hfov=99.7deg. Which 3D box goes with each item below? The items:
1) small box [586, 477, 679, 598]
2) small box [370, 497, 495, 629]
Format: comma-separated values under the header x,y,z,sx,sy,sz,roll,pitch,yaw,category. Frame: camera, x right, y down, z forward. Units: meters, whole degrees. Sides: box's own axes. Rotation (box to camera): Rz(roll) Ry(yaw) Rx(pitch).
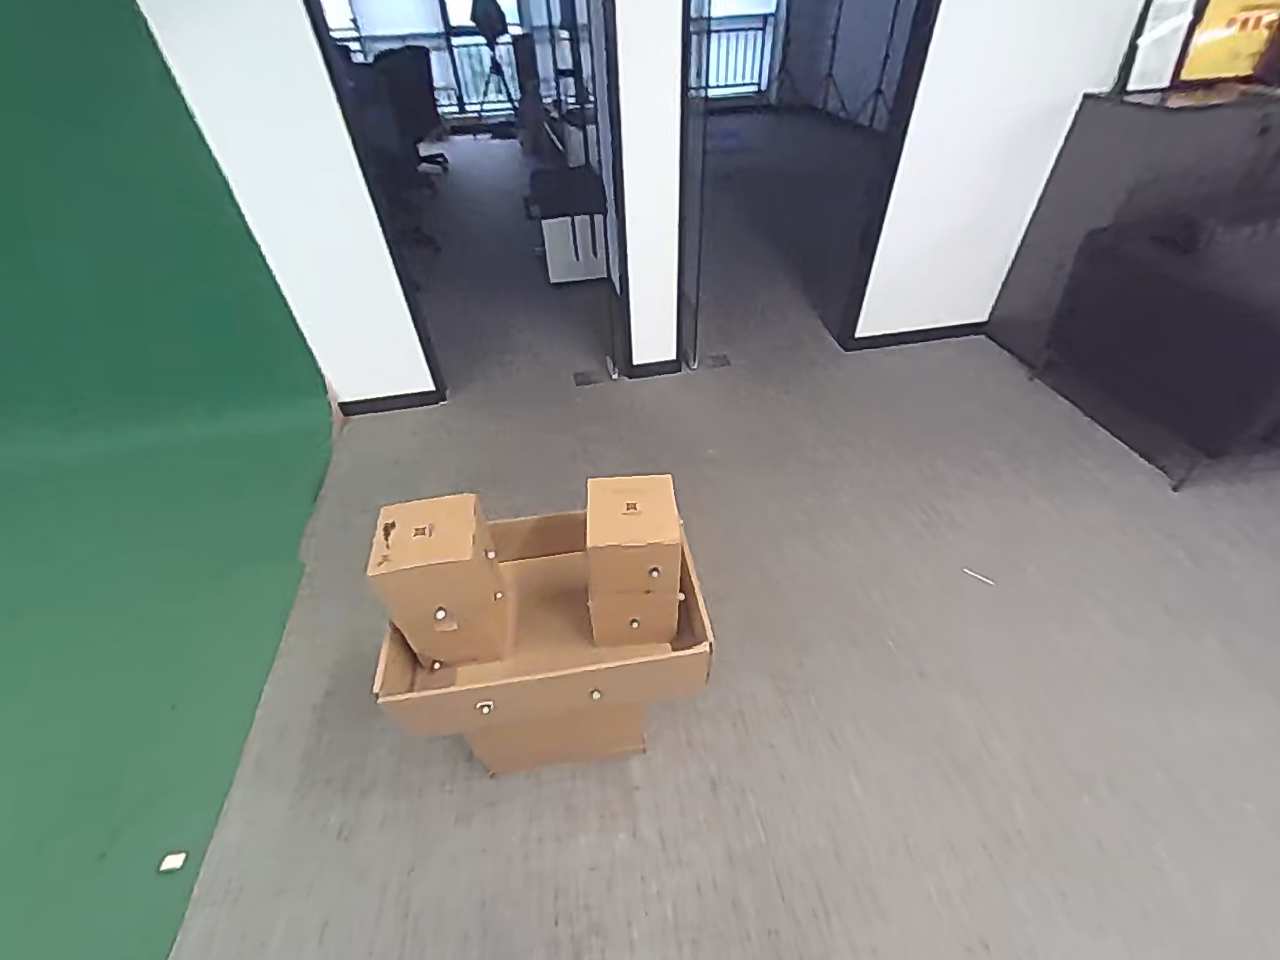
x,y,z,sx,sy,sz,roll,pitch,yaw,category
-0.013,0.115,1.044,0.168,0.176,0.179,-3,42,-1,small box
-0.376,0.157,1.017,0.179,0.176,0.168,-8,42,-6,small box
